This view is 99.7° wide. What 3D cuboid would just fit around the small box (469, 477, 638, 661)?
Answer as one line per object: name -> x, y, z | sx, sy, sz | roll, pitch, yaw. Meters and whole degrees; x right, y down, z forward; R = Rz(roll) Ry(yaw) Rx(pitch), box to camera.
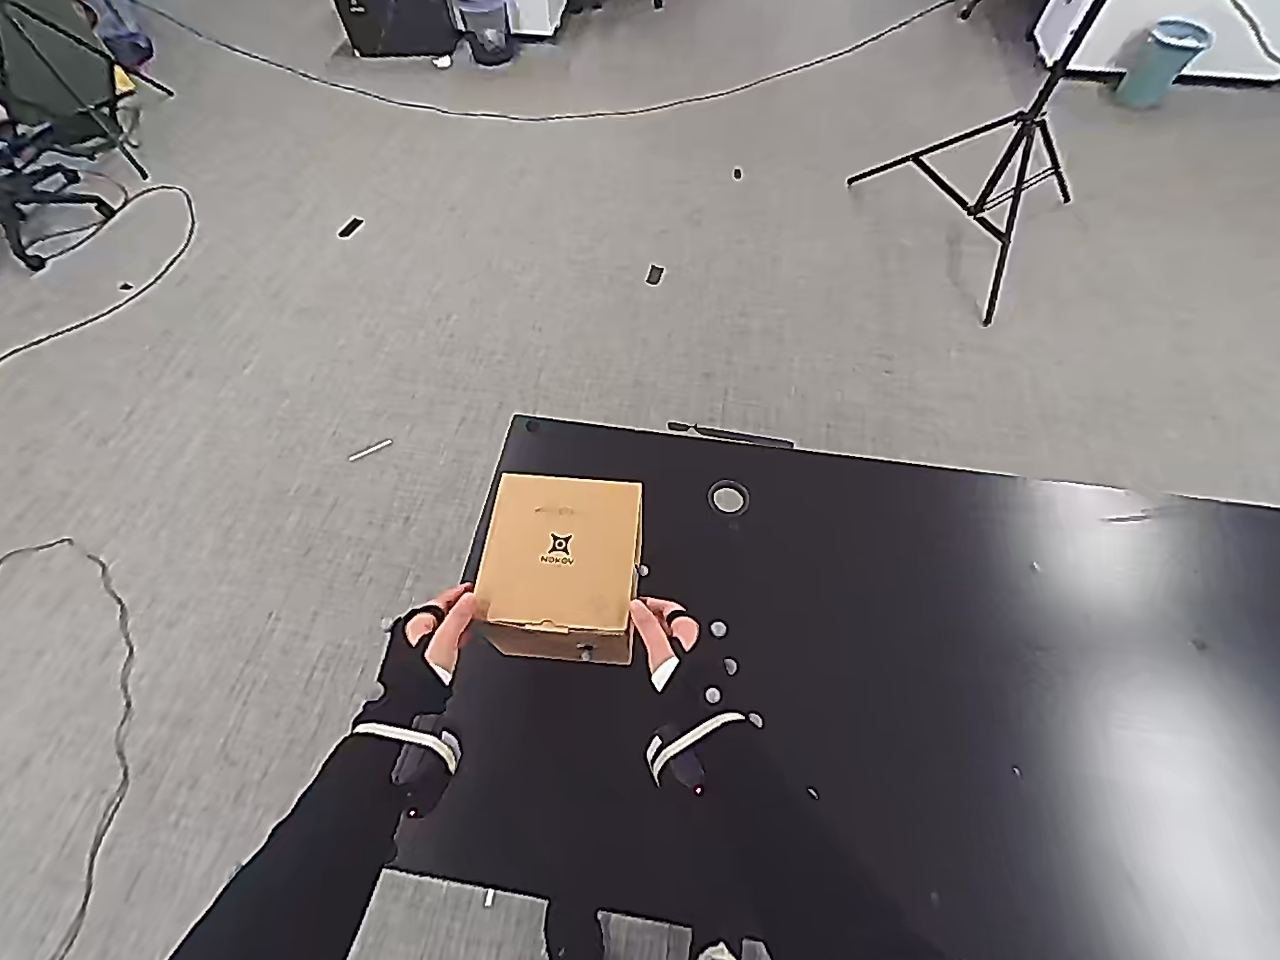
small box -> -0.090, 0.116, 0.664 | 0.168, 0.176, 0.179 | 4, 60, 1
